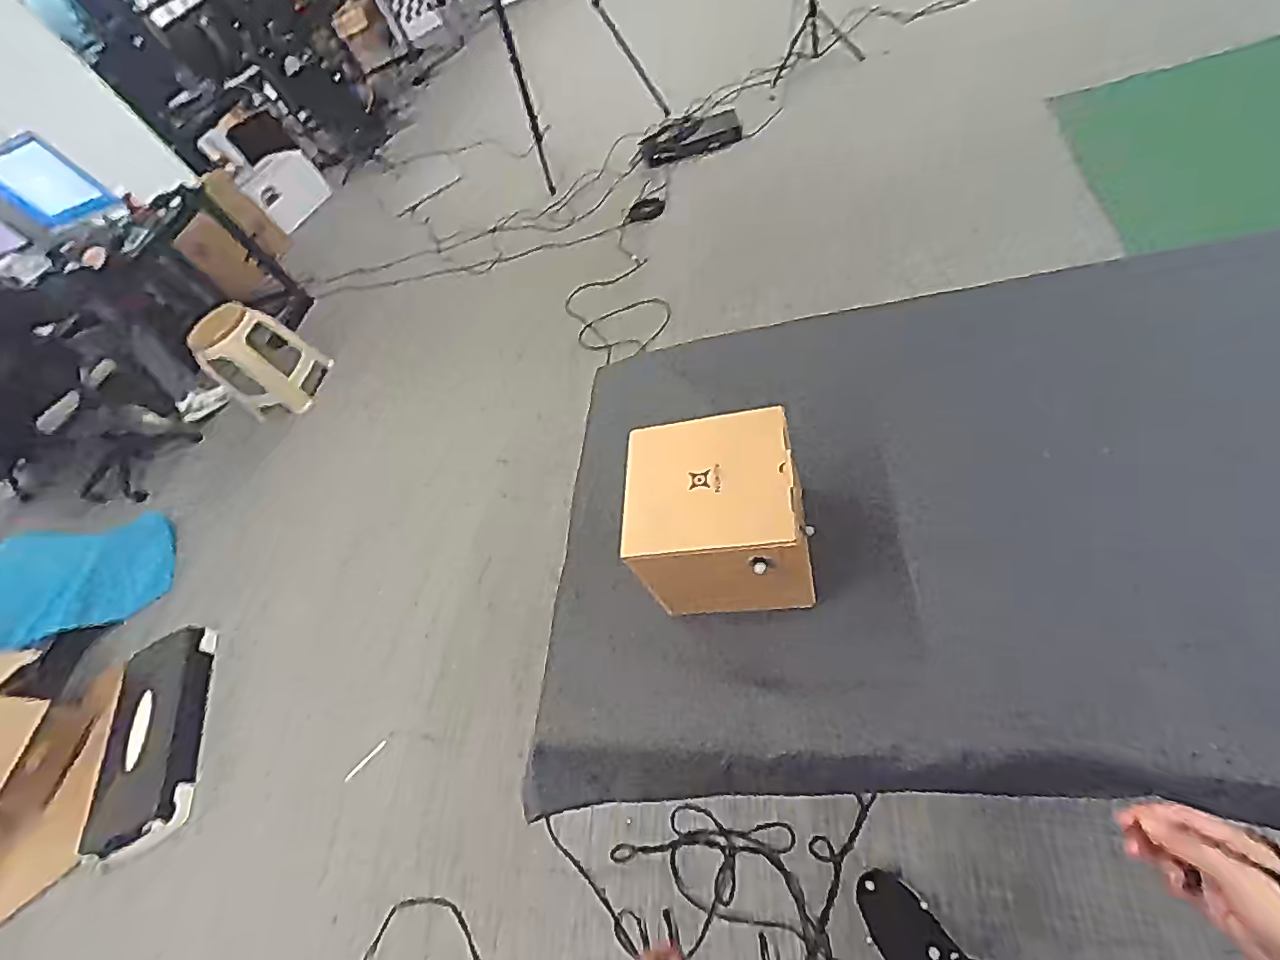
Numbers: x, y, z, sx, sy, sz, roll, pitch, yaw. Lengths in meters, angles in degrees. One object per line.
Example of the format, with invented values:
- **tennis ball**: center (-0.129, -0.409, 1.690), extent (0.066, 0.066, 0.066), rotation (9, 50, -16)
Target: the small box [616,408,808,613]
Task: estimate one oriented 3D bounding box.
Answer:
- **small box**: center (0.089, 0.045, 0.620), extent (0.179, 0.176, 0.168), rotation (-8, 54, 17)
